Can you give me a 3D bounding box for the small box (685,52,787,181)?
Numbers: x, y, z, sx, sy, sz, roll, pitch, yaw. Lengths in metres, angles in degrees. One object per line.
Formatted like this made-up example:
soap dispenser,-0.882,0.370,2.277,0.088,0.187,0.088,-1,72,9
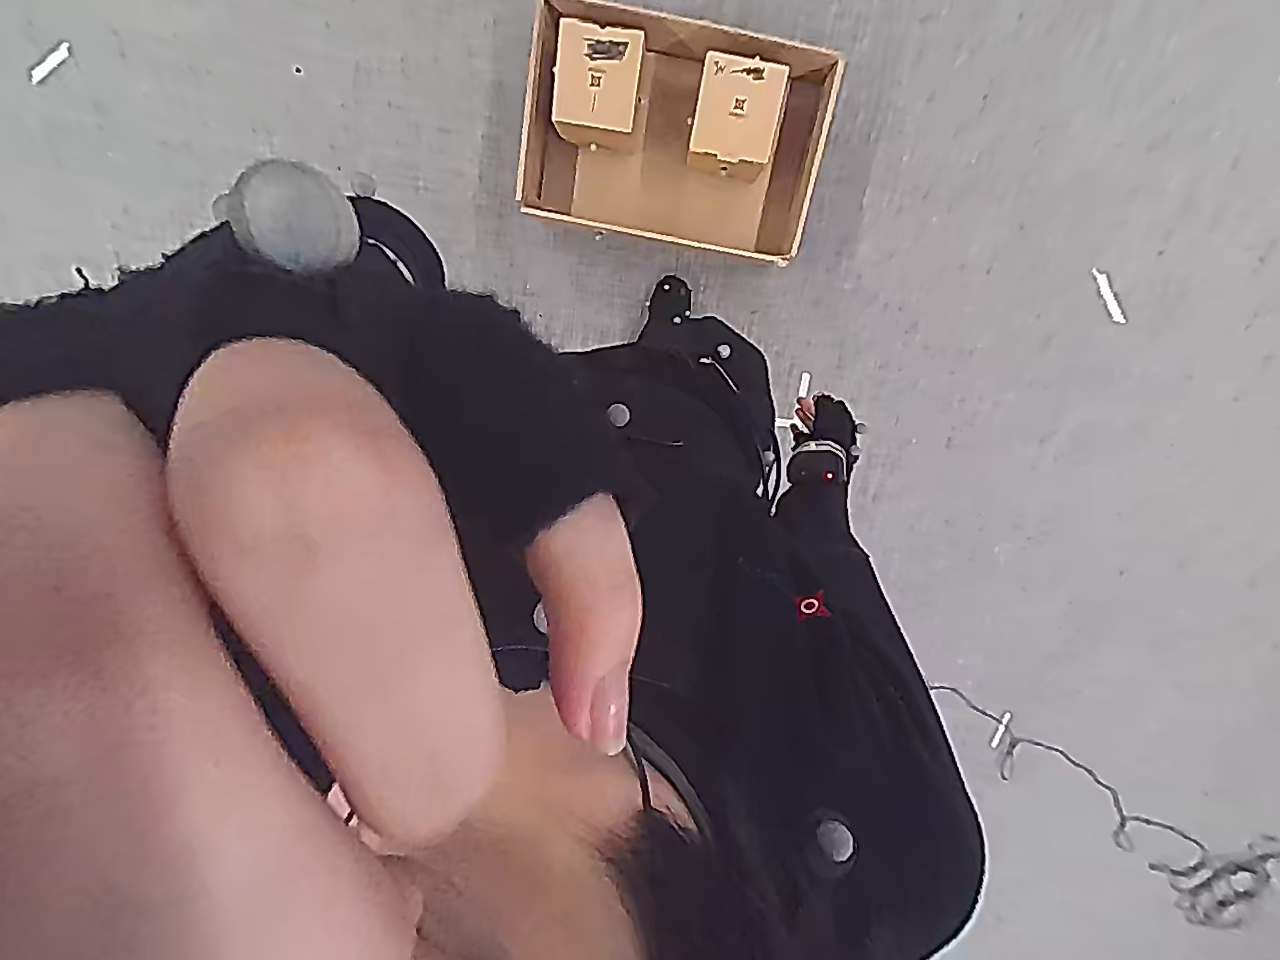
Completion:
small box,0.194,-0.756,1.146,0.168,0.176,0.179,11,109,-2
